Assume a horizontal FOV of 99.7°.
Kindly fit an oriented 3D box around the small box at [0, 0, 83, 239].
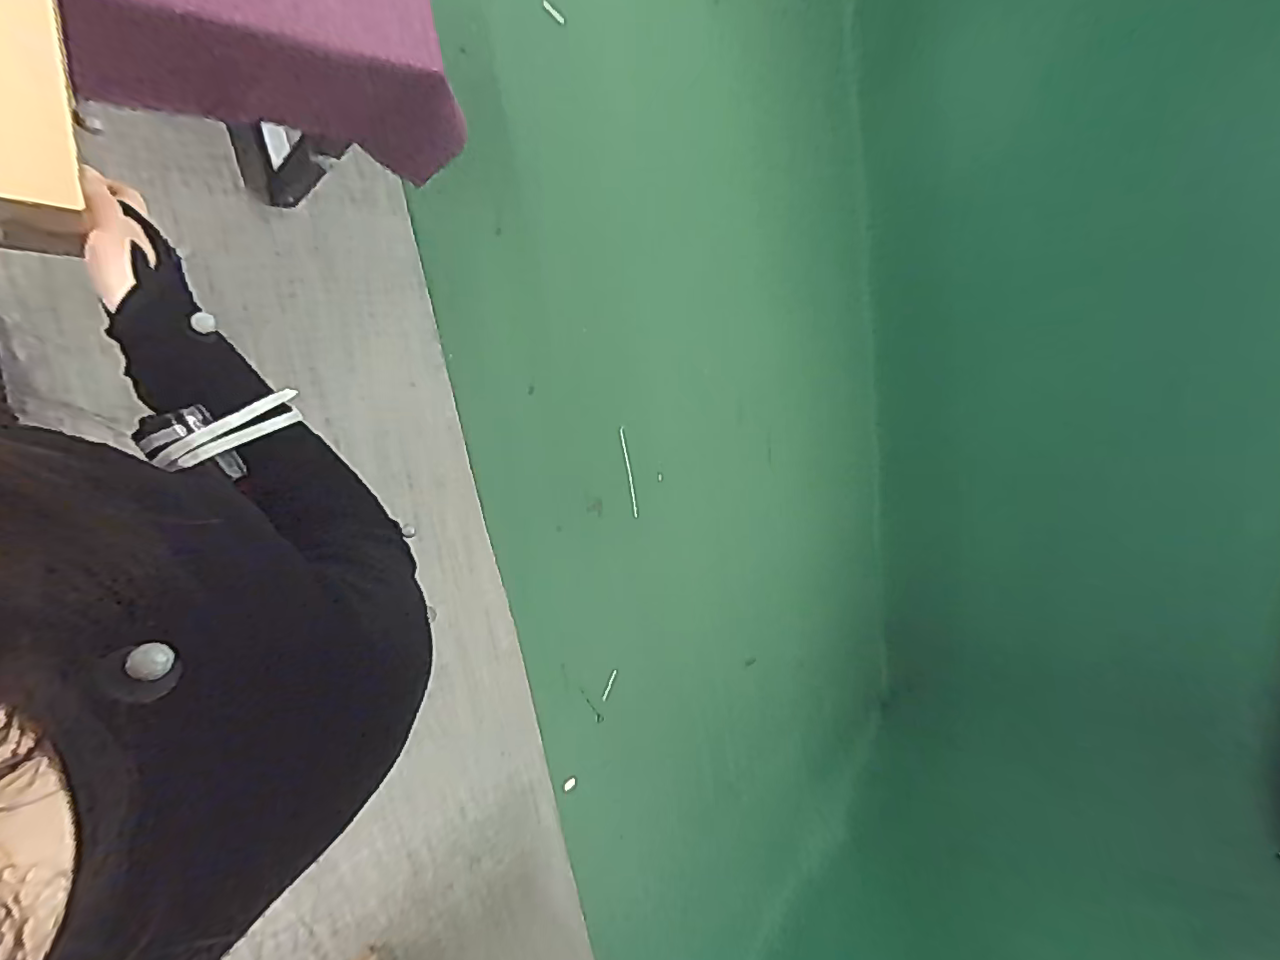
[{"bbox_3d":[-0.443,-0.246,0.300,0.179,0.176,0.168,-8,102,-42],"label":"small box"}]
